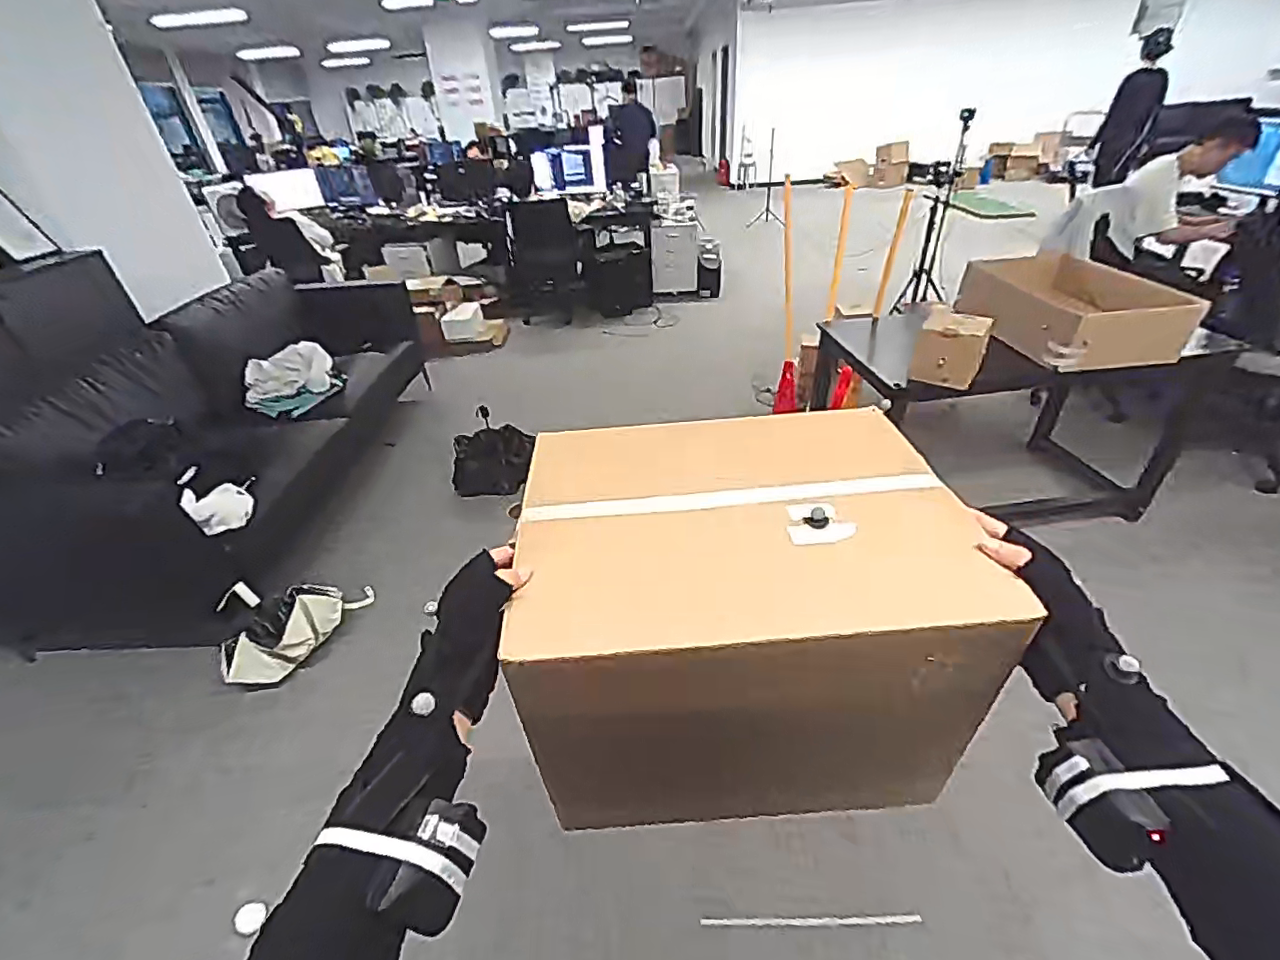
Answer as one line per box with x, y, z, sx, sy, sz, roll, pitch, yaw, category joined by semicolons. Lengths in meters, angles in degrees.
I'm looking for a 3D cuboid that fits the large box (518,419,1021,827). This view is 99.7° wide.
0.098;0.151;0.620;0.408;0.320;0.320;-4;37;-1;large box
